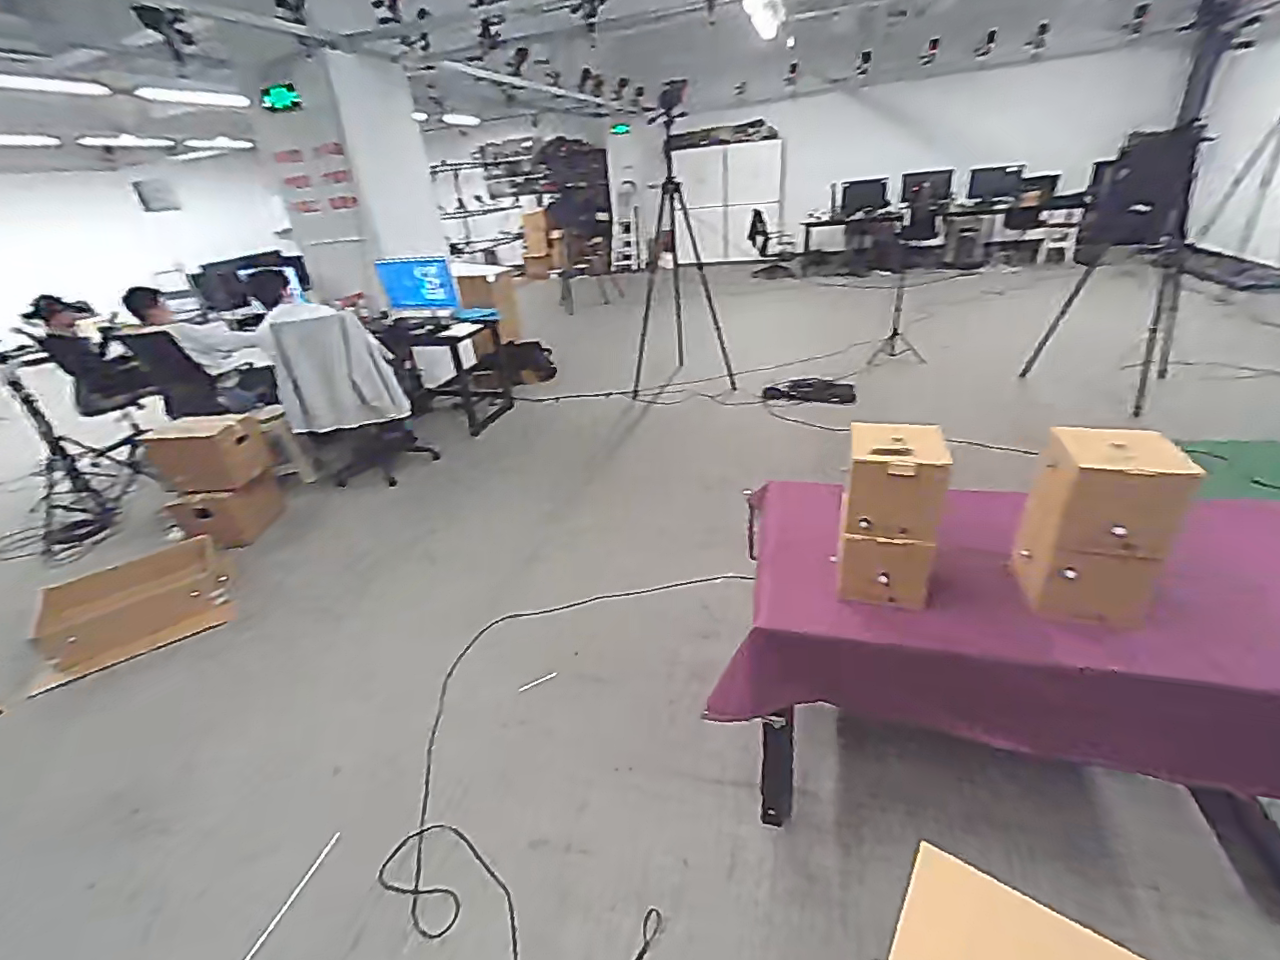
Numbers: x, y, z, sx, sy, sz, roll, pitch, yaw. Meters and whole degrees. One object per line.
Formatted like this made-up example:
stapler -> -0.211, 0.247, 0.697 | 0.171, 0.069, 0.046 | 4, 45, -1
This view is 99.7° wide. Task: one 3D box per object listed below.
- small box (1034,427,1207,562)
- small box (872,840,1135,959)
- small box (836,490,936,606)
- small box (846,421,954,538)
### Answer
small box -> 0.841, 0.021, 0.971 | 0.168, 0.176, 0.179 | 6, 31, 20
small box -> 0.249, 0.406, 0.369 | 0.179, 0.176, 0.168 | 15, 43, 36
small box -> 0.514, 0.143, 1.147 | 0.168, 0.176, 0.179 | 6, 32, 17
small box -> 0.506, -0.004, 1.071 | 0.168, 0.176, 0.179 | 6, 30, 19
